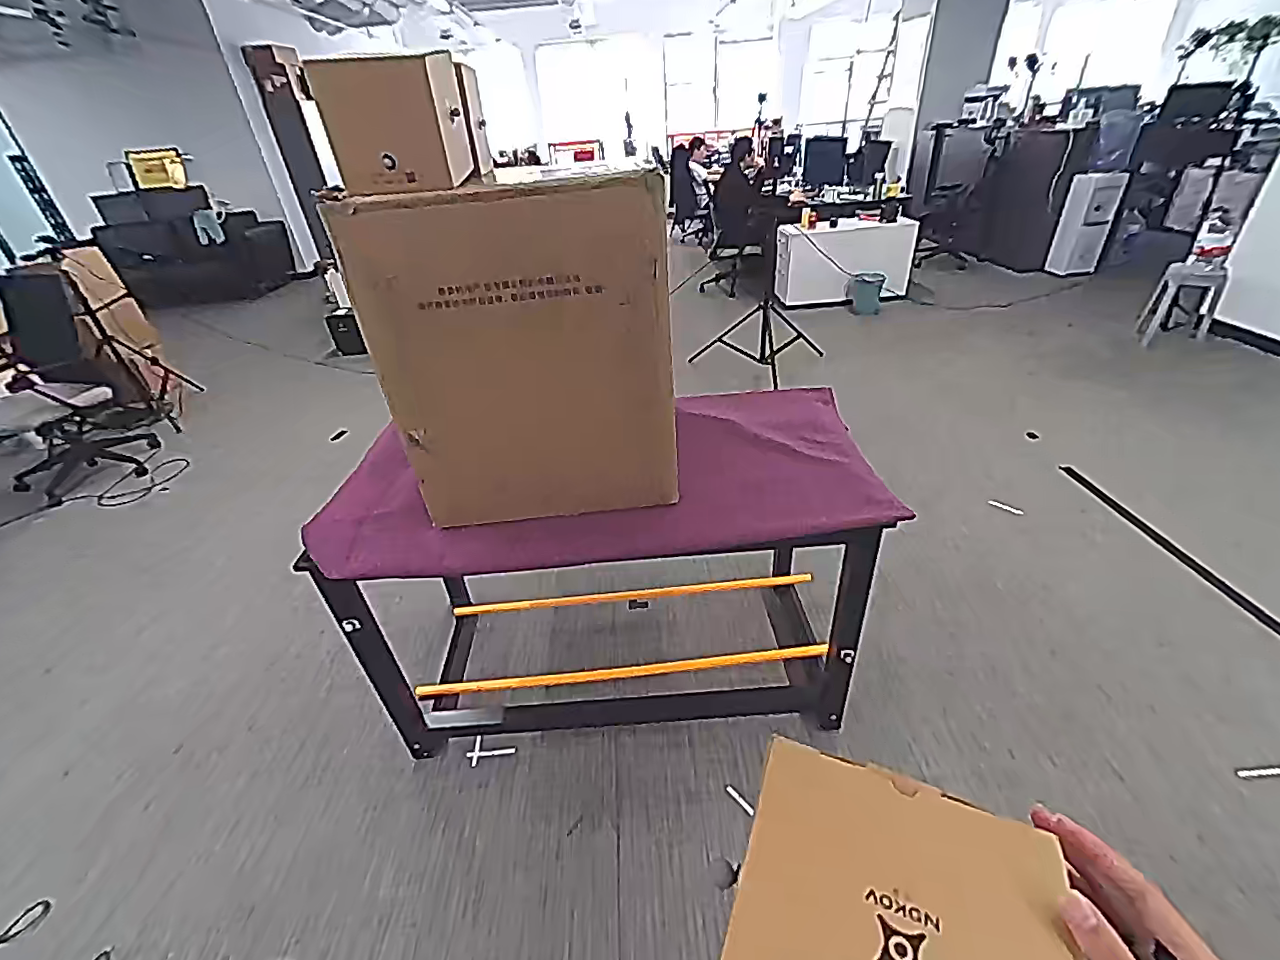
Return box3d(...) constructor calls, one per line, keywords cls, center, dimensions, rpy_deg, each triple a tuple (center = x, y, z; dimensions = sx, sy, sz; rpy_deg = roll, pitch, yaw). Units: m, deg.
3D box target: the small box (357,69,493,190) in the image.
box3d(cls="small box", center=(-0.378, -0.640, 0.992), dimensions=(0.179, 0.176, 0.168), rpy_deg=(-5, 33, -2))
